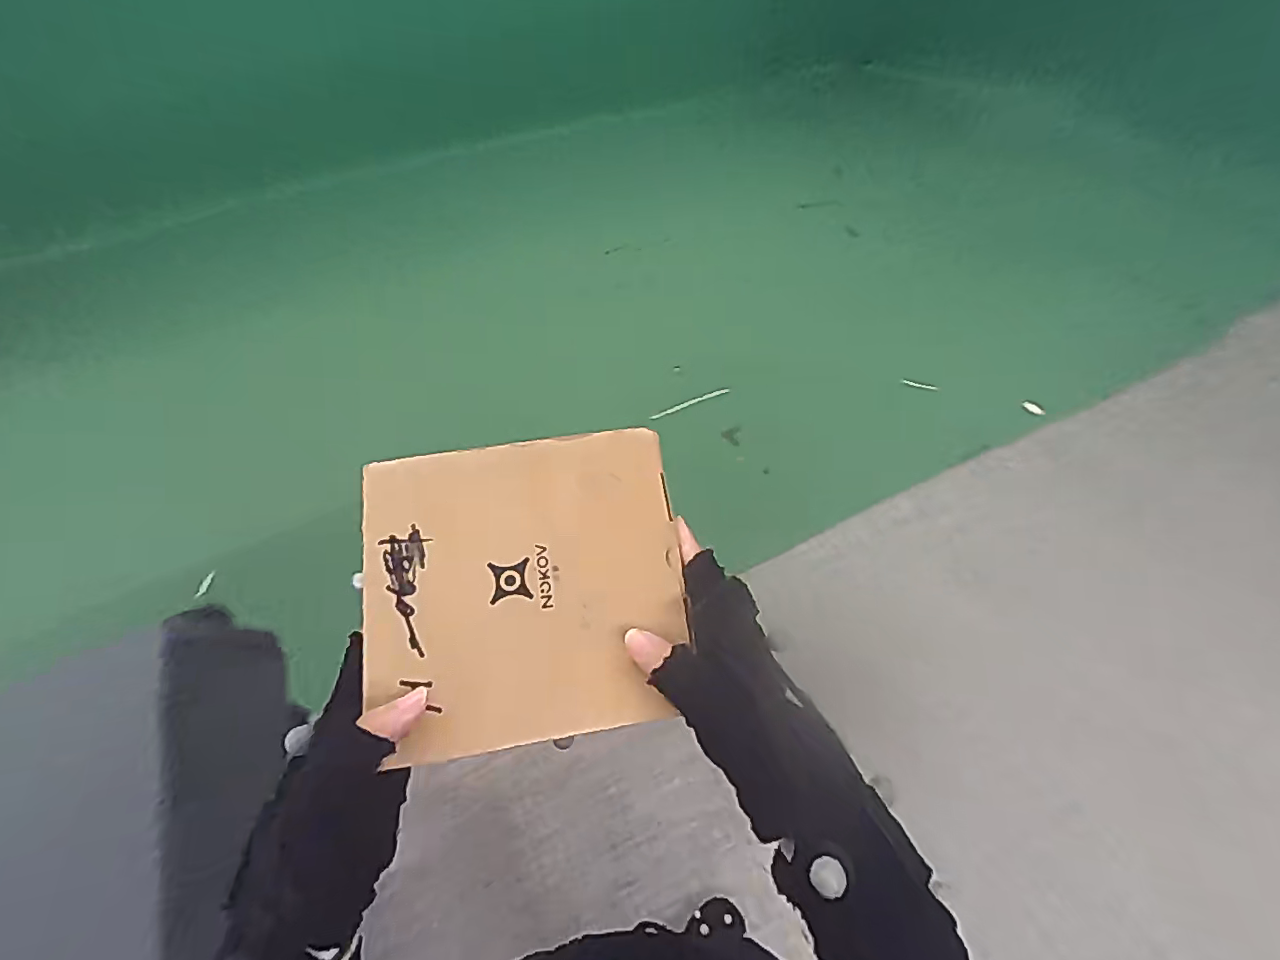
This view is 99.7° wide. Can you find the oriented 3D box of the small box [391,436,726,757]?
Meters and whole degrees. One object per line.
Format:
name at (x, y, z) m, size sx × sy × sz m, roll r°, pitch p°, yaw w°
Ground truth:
small box at (-0.055, 0.083, 0.380) m, size 0.179 × 0.176 × 0.168 m, roll -6°, pitch 69°, yaw -6°
